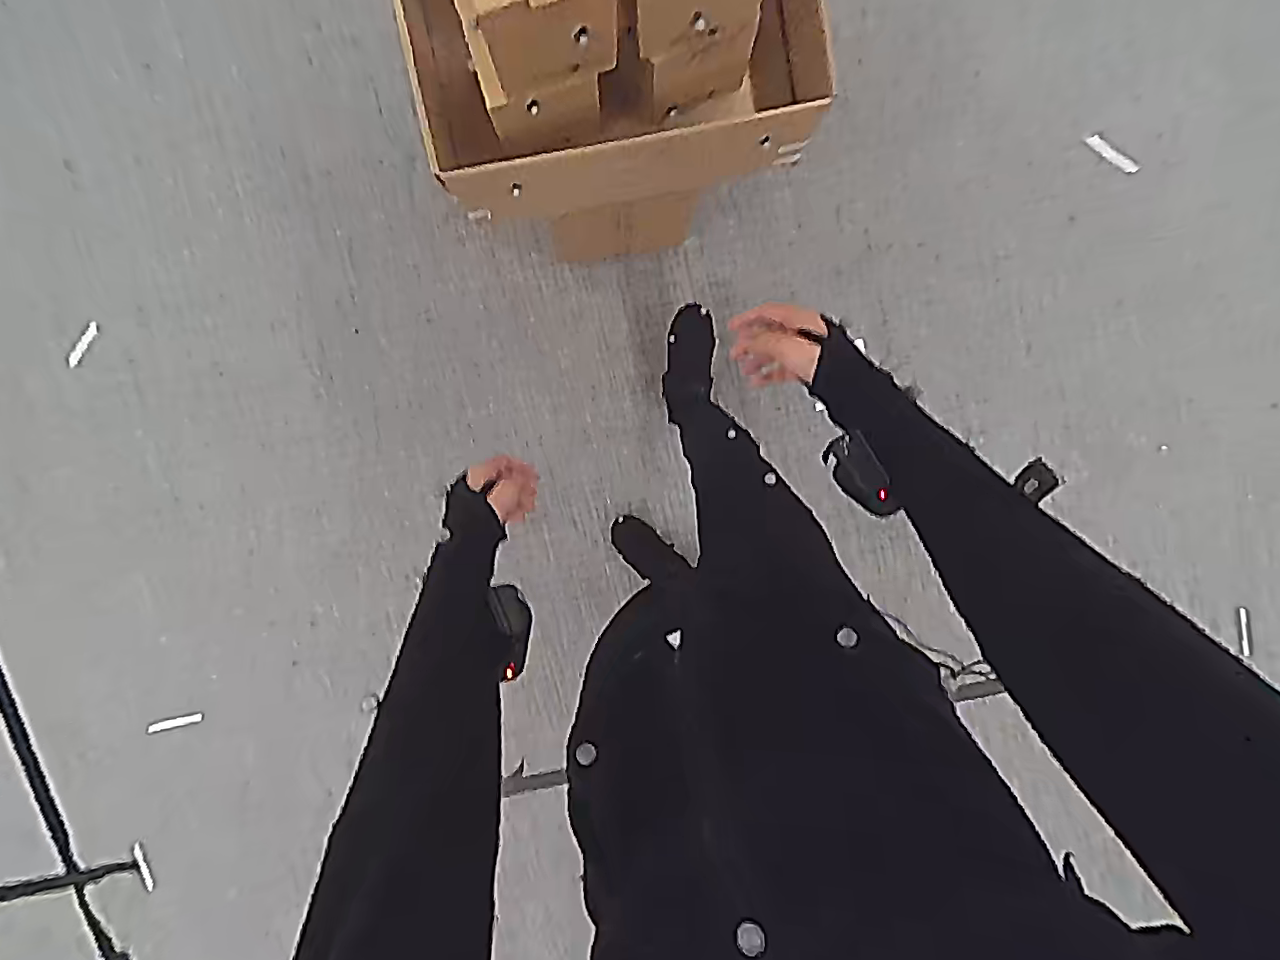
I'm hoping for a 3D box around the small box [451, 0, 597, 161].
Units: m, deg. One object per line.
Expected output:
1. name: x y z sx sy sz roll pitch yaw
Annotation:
1. small box: -0.170 -0.636 0.832 0.168 0.176 0.179 -17 96 1
